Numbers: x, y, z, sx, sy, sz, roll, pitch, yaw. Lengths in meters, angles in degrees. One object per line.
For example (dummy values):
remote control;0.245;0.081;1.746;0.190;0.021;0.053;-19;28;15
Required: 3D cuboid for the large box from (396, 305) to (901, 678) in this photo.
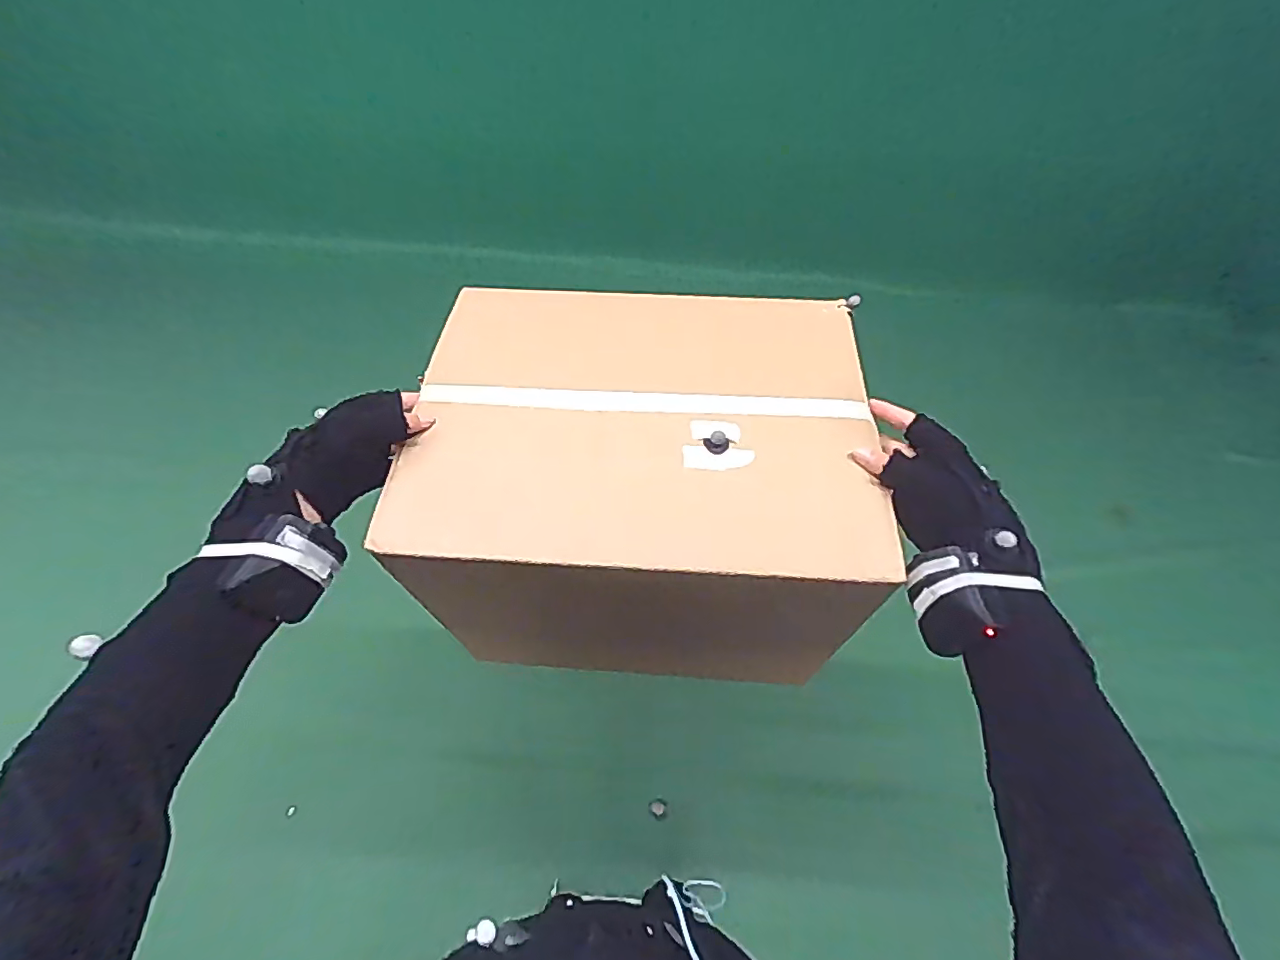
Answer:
large box;0.010;0.025;0.623;0.408;0.320;0.320;3;57;2
